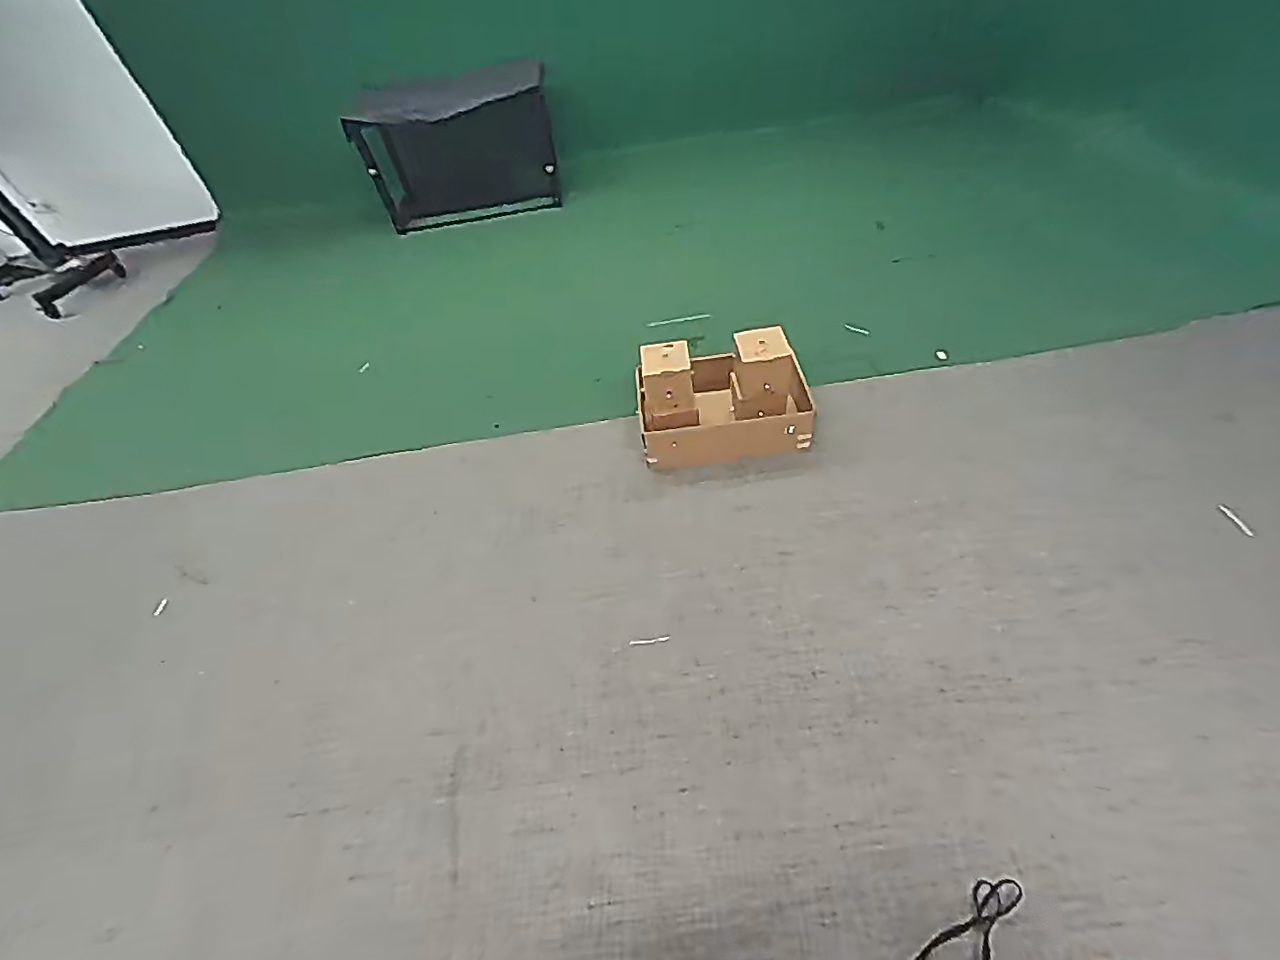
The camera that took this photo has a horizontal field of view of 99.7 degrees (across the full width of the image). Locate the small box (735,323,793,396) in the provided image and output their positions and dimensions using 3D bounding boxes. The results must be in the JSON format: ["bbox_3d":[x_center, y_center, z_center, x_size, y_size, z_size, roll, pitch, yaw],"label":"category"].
[{"bbox_3d":[0.423,-0.416,1.874,0.168,0.176,0.179,-9,49,4],"label":"small box"}]

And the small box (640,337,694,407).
[{"bbox_3d":[0.095,-0.371,1.892,0.168,0.176,0.179,-7,49,4],"label":"small box"}]
